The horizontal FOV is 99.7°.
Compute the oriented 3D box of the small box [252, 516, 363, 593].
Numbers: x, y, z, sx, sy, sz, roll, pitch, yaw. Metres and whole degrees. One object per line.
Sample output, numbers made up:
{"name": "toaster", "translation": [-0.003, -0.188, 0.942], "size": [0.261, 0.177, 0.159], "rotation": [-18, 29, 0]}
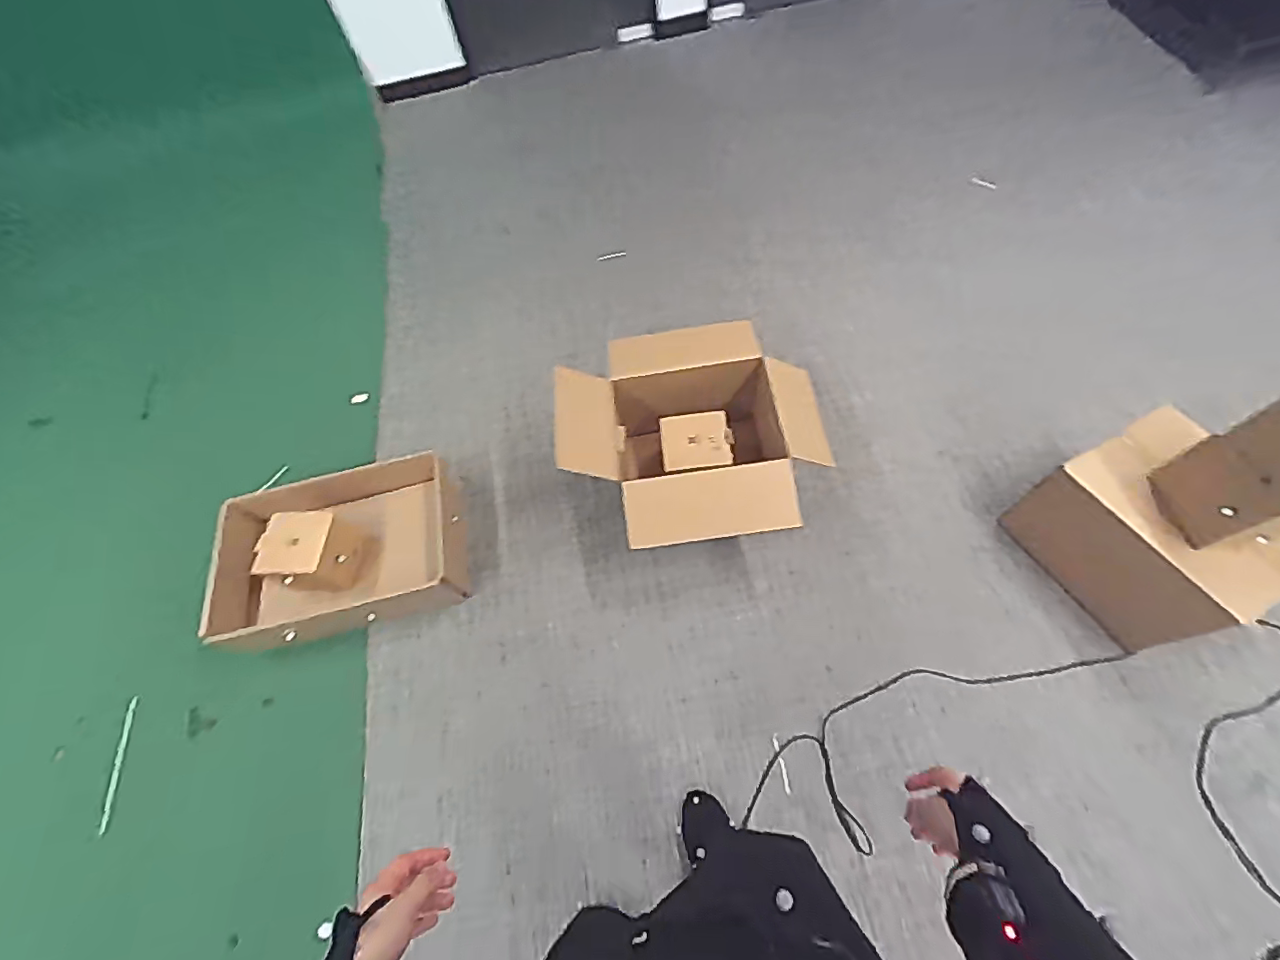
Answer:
{"name": "small box", "translation": [-0.890, 0.206, 1.469], "size": [0.179, 0.176, 0.168], "rotation": [-2, 62, 5]}
